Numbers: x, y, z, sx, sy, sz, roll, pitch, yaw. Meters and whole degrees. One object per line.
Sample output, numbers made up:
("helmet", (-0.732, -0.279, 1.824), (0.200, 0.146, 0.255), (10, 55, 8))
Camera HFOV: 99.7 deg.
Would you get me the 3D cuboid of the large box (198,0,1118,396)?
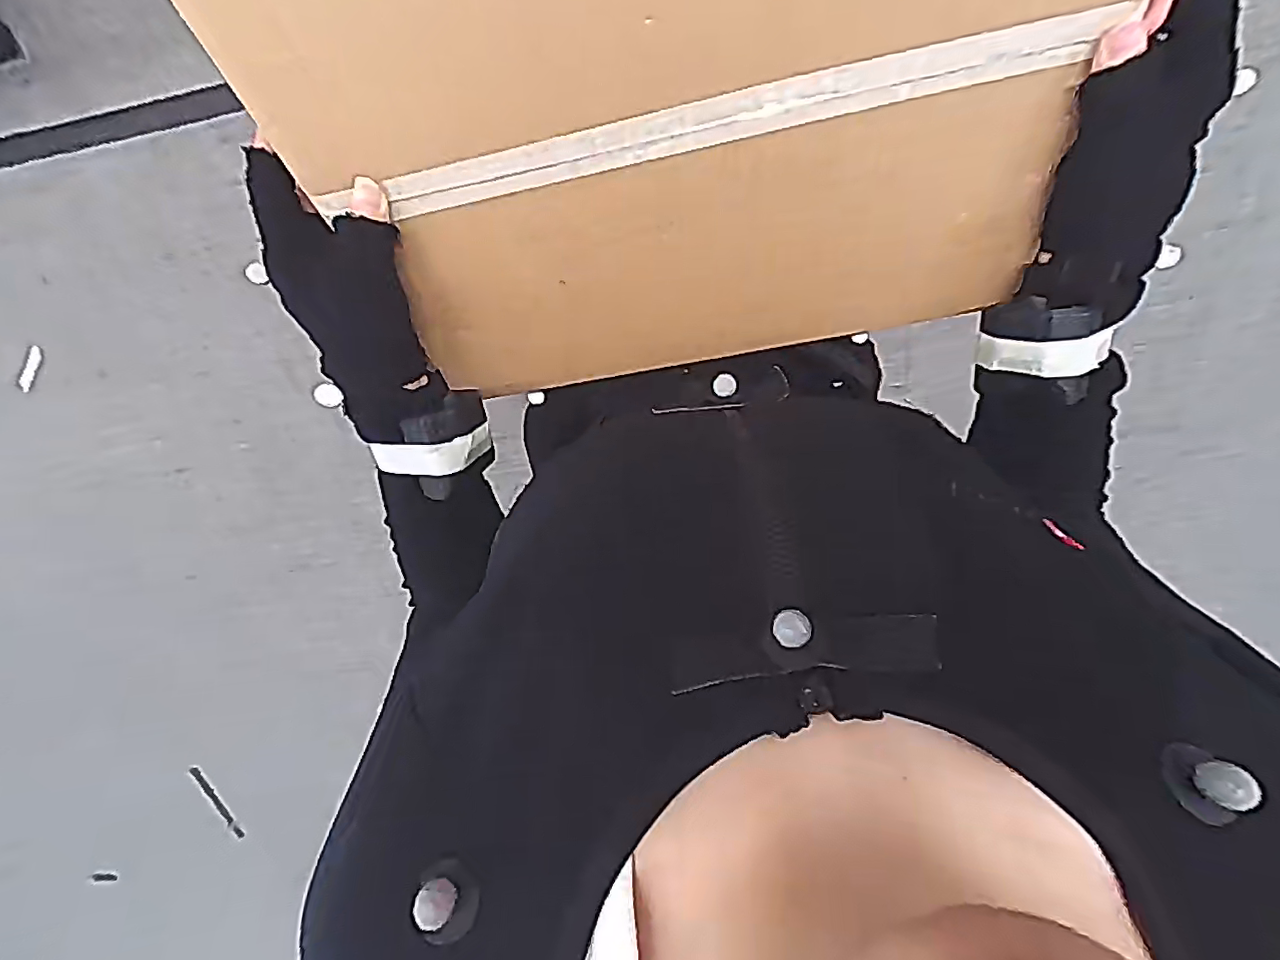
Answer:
("large box", (0.014, -0.302, 0.365), (0.408, 0.320, 0.320), (-9, 145, 7))
